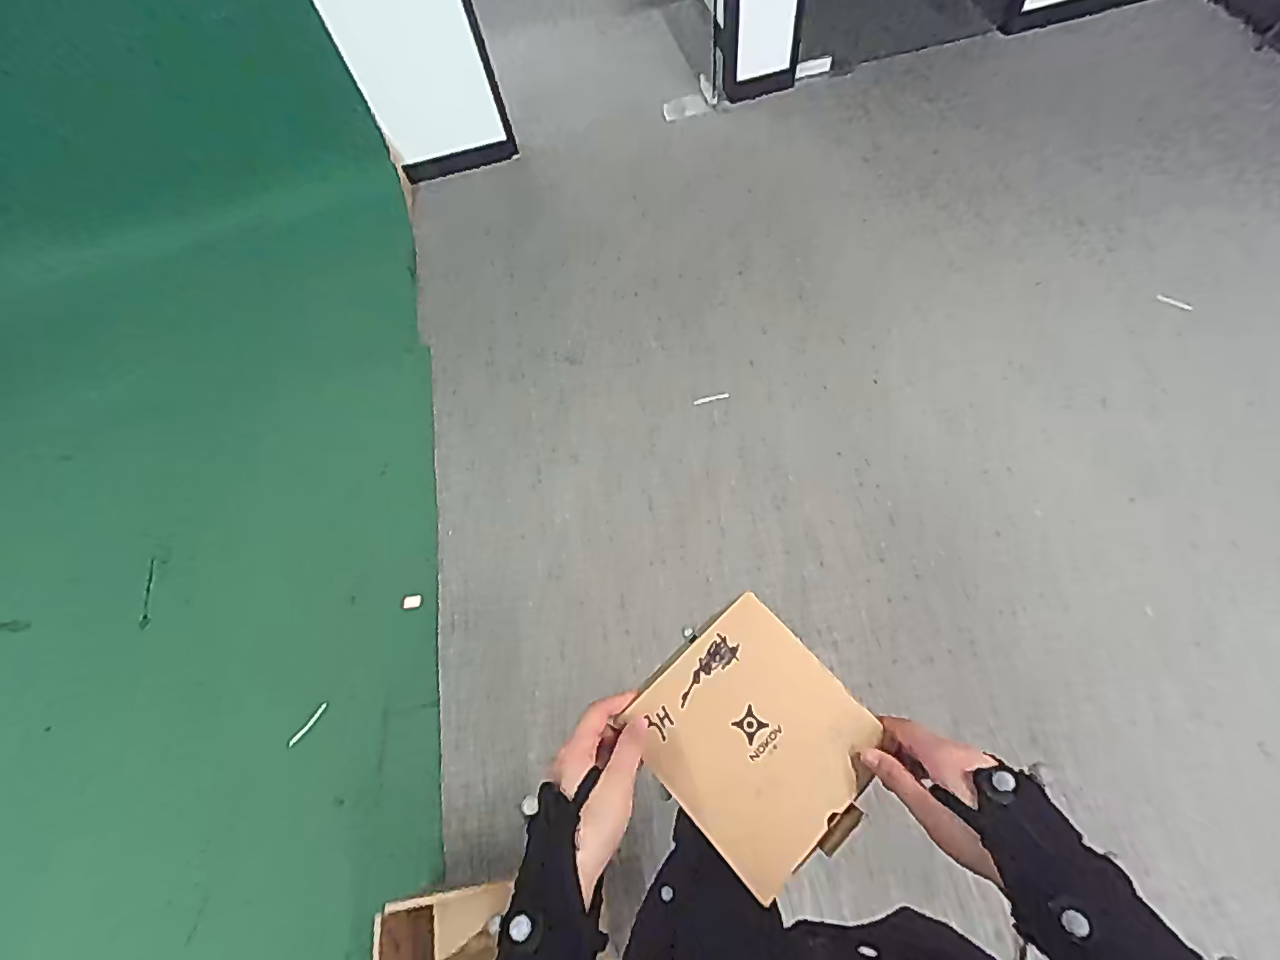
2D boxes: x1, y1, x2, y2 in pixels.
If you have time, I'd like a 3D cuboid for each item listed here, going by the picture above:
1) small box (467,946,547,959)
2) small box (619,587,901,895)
[{"bbox_3d":[-0.245,0.861,0.833,0.179,0.176,0.168,-12,64,0],"label":"small box"},{"bbox_3d":[0.097,0.229,0.519,0.168,0.176,0.179,-40,76,-15],"label":"small box"}]
